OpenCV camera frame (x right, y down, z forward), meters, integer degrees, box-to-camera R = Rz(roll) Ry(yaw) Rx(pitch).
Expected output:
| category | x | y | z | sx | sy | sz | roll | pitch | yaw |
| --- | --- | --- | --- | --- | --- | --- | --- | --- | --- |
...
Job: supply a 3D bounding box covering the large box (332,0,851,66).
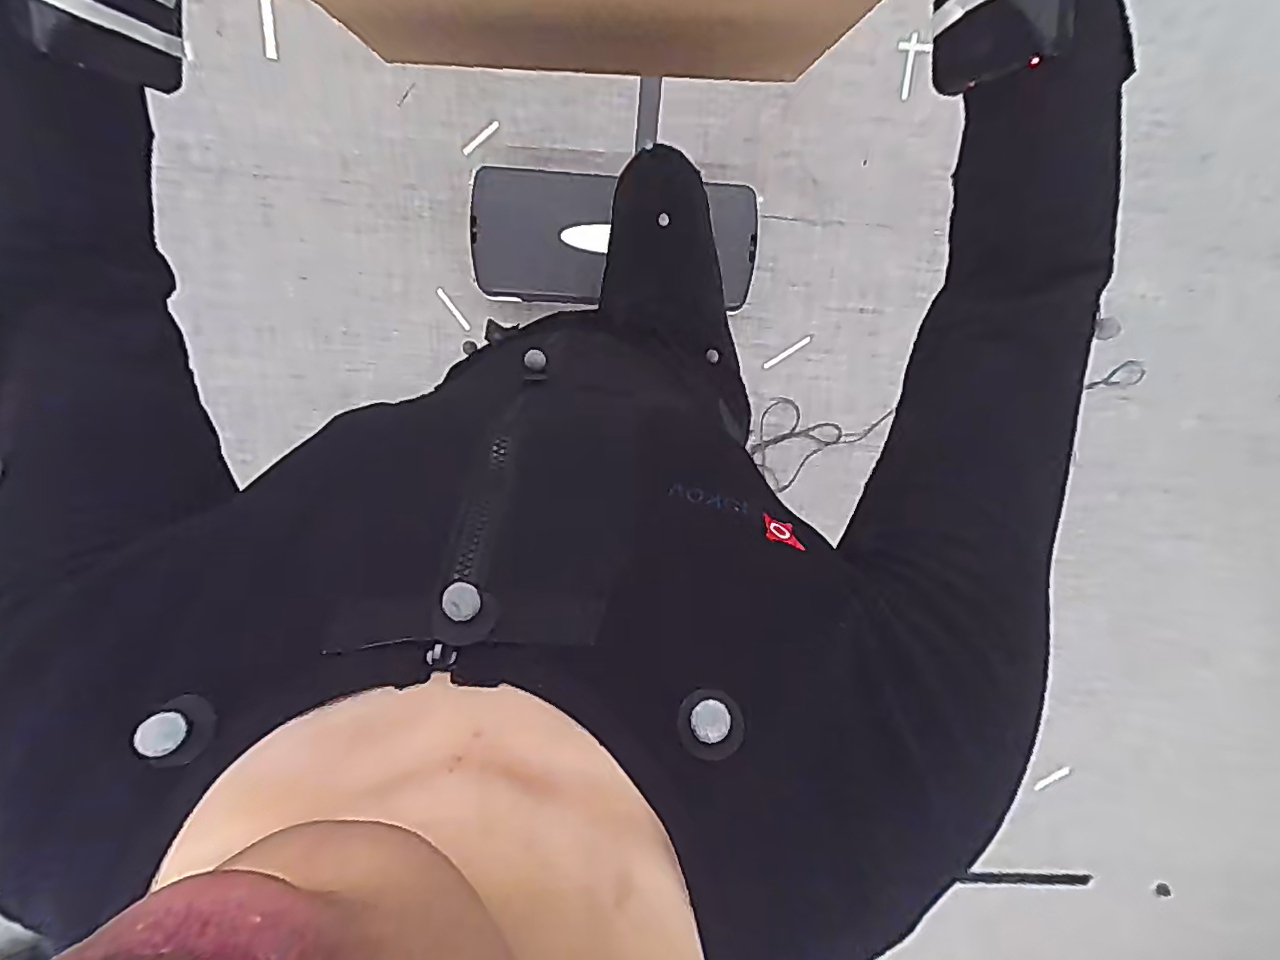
| category | x | y | z | sx | sy | sz | roll | pitch | yaw |
| --- | --- | --- | --- | --- | --- | --- | --- | --- | --- |
| large box | -0.036 | -0.492 | 0.336 | 0.408 | 0.320 | 0.320 | 0 | 114 | -3 |
